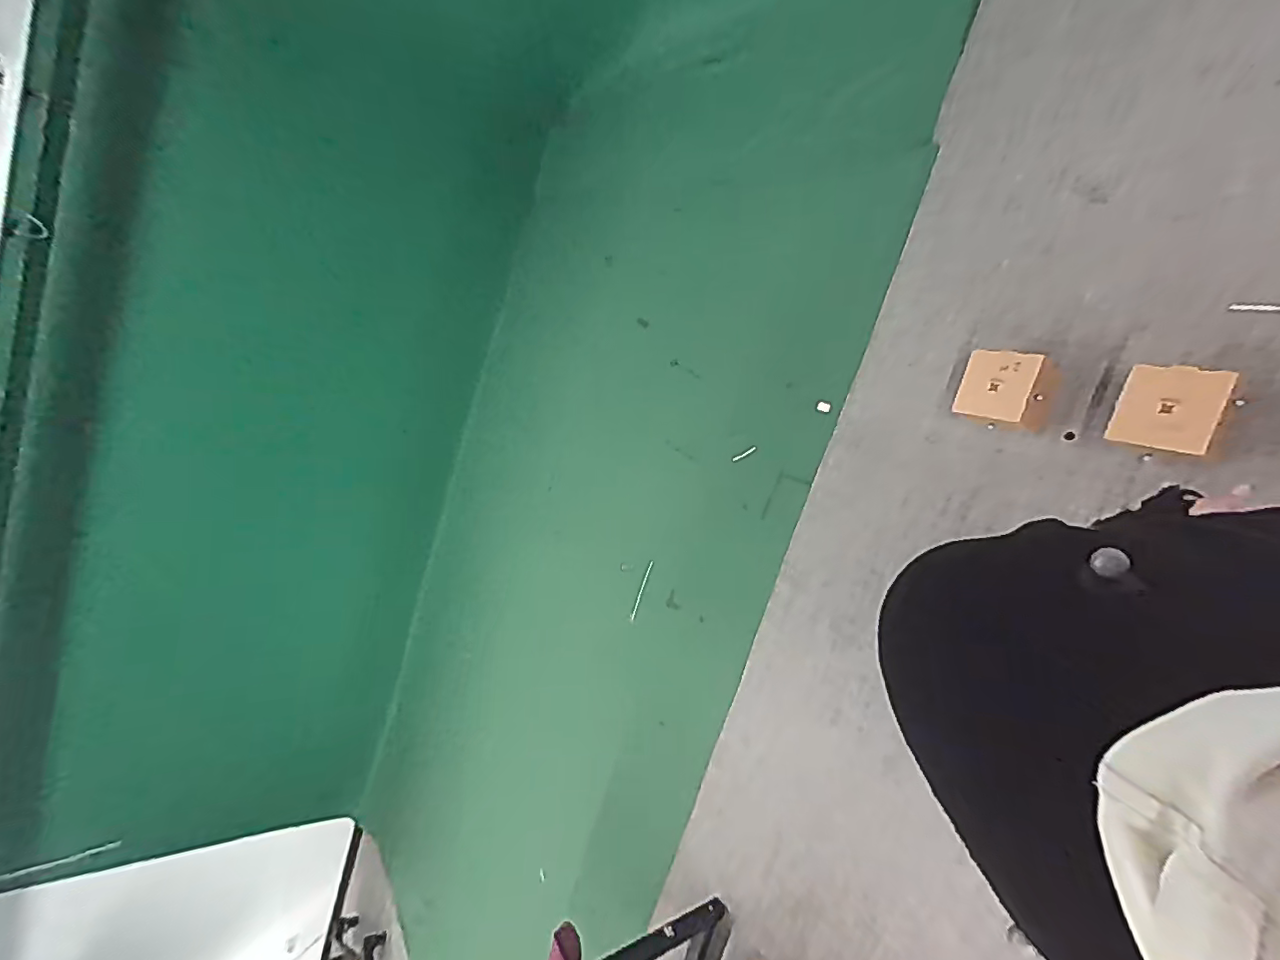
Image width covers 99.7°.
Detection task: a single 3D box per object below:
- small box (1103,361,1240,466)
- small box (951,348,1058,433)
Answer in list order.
[{"bbox_3d":[1.163,-0.144,1.185,0.168,0.176,0.179,26,102,50],"label":"small box"},{"bbox_3d":[0.969,-0.235,1.432,0.168,0.176,0.179,26,101,49],"label":"small box"}]
